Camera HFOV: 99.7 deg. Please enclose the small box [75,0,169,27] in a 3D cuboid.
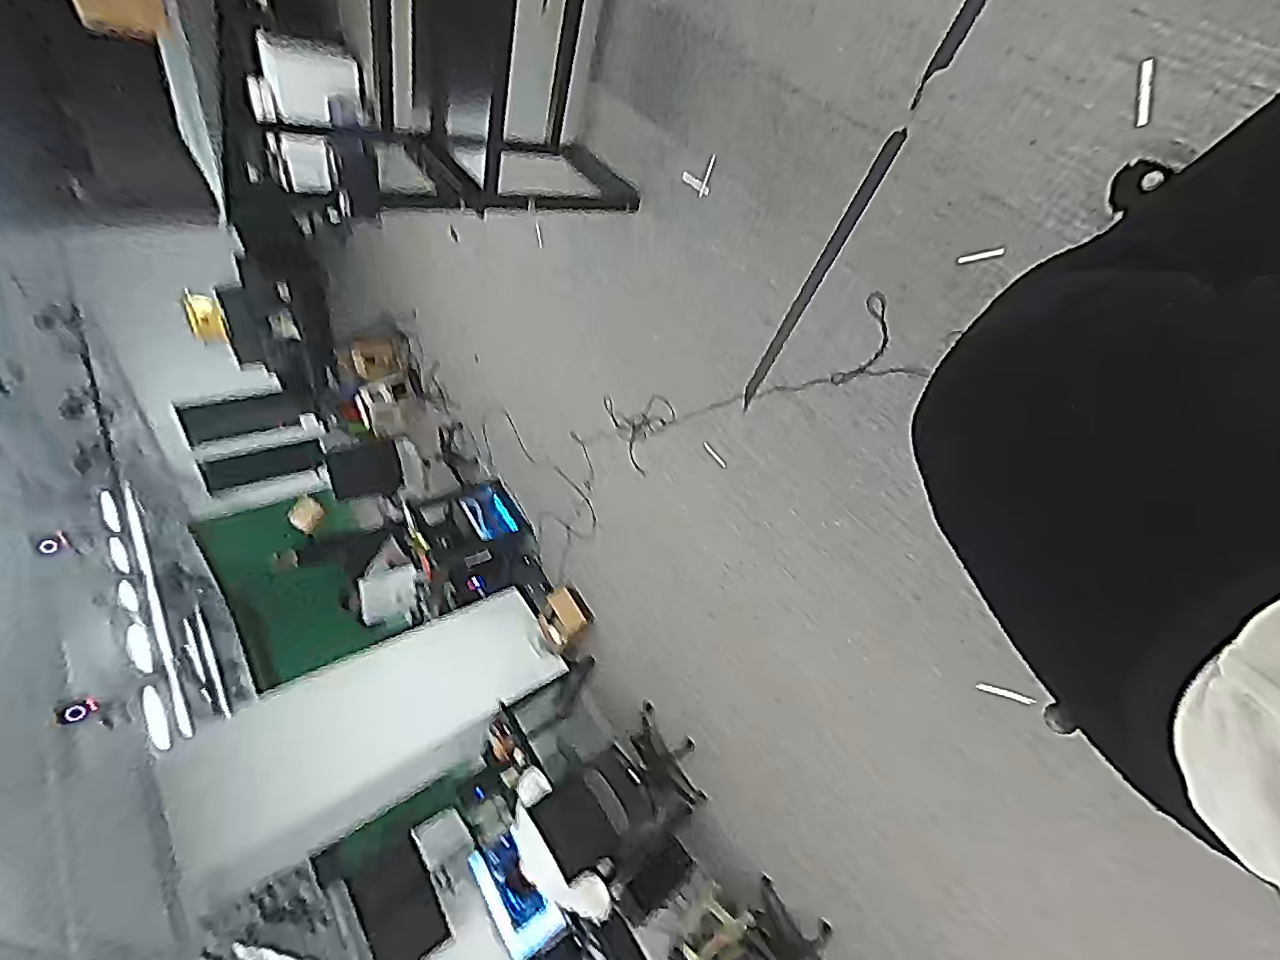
[{"bbox_3d":[-1.267,-1.225,1.284,0.168,0.176,0.179,51,141,24],"label":"small box"}]
